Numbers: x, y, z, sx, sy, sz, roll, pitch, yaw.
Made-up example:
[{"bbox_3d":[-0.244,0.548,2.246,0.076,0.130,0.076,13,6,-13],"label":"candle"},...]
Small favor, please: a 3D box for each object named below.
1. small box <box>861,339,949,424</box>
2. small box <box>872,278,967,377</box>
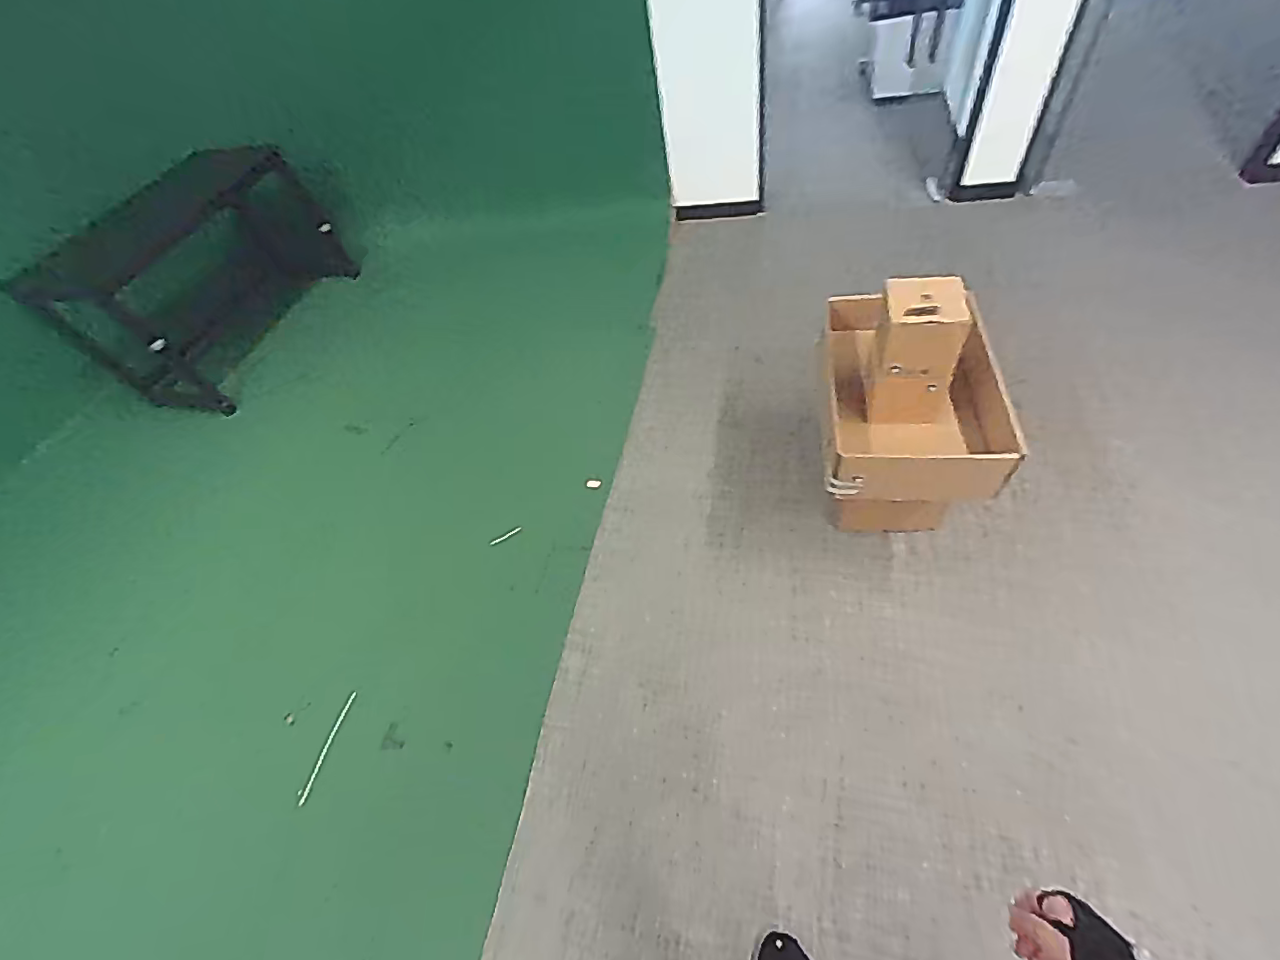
[{"bbox_3d":[0.694,-0.263,1.442,0.179,0.176,0.168,1,53,13],"label":"small box"},{"bbox_3d":[0.670,-0.366,1.317,0.168,0.176,0.179,3,53,14],"label":"small box"}]
